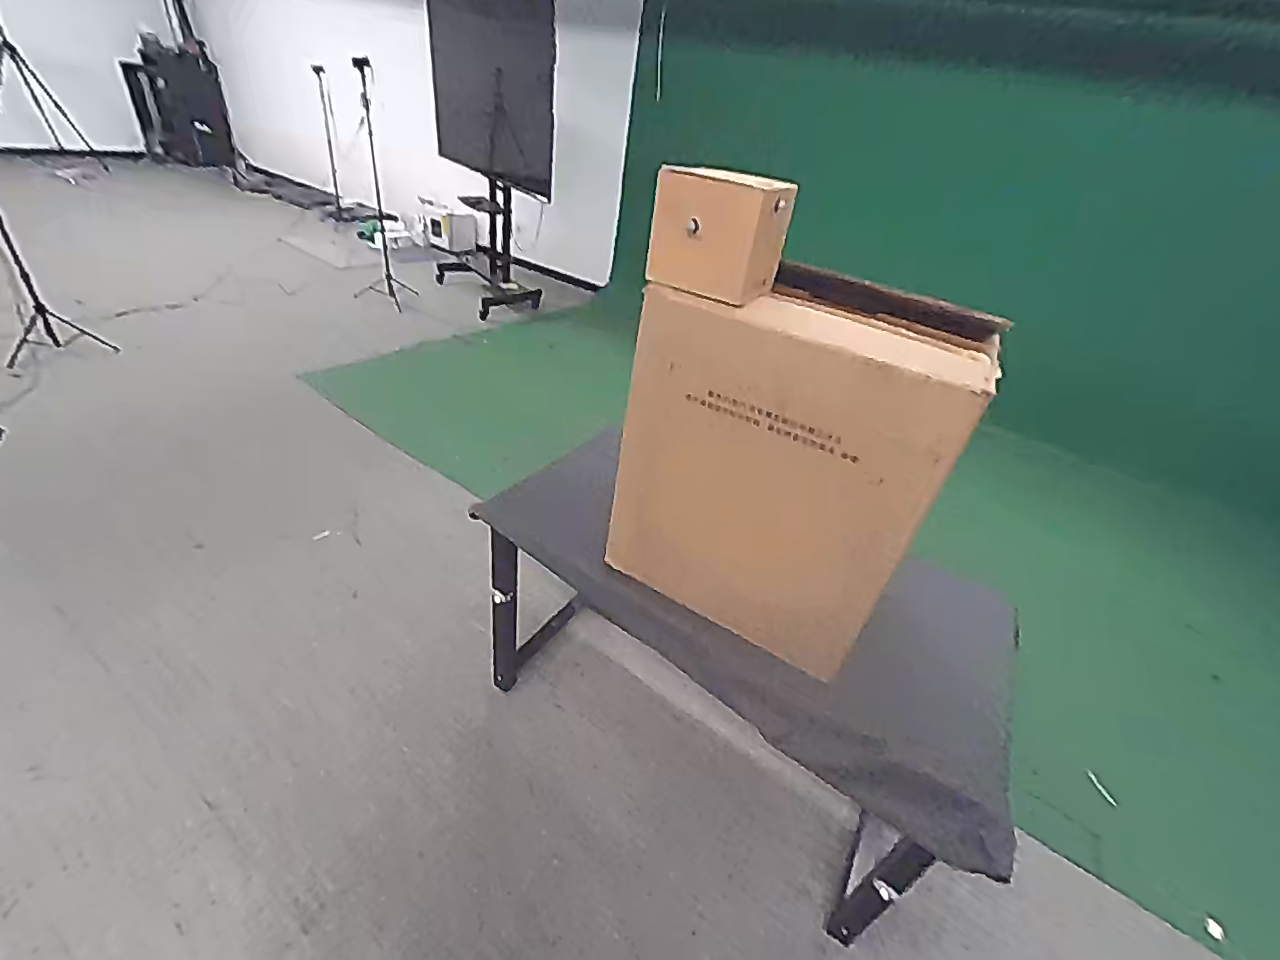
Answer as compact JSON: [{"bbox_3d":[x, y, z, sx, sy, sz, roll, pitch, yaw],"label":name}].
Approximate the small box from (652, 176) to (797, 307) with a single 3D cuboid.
[{"bbox_3d":[0.135,-0.398,0.897,0.179,0.176,0.168,23,37,22],"label":"small box"}]
